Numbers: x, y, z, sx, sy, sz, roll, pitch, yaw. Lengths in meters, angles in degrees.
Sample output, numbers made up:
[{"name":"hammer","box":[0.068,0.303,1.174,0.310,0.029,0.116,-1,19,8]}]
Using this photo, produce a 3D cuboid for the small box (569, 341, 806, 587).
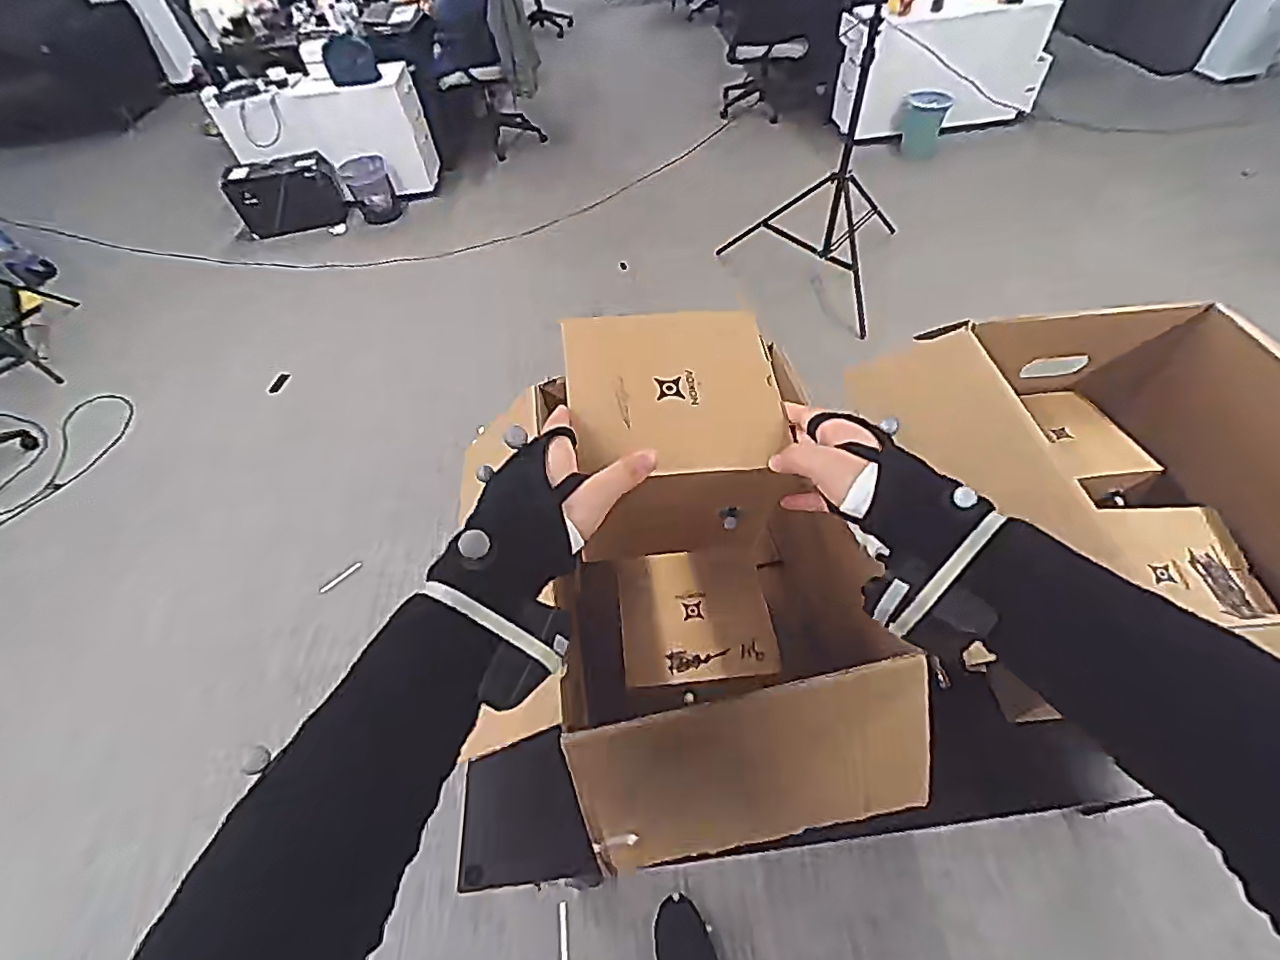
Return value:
[{"name":"small box","box":[0.030,-0.008,0.513,0.179,0.176,0.168,-6,61,-5]}]
